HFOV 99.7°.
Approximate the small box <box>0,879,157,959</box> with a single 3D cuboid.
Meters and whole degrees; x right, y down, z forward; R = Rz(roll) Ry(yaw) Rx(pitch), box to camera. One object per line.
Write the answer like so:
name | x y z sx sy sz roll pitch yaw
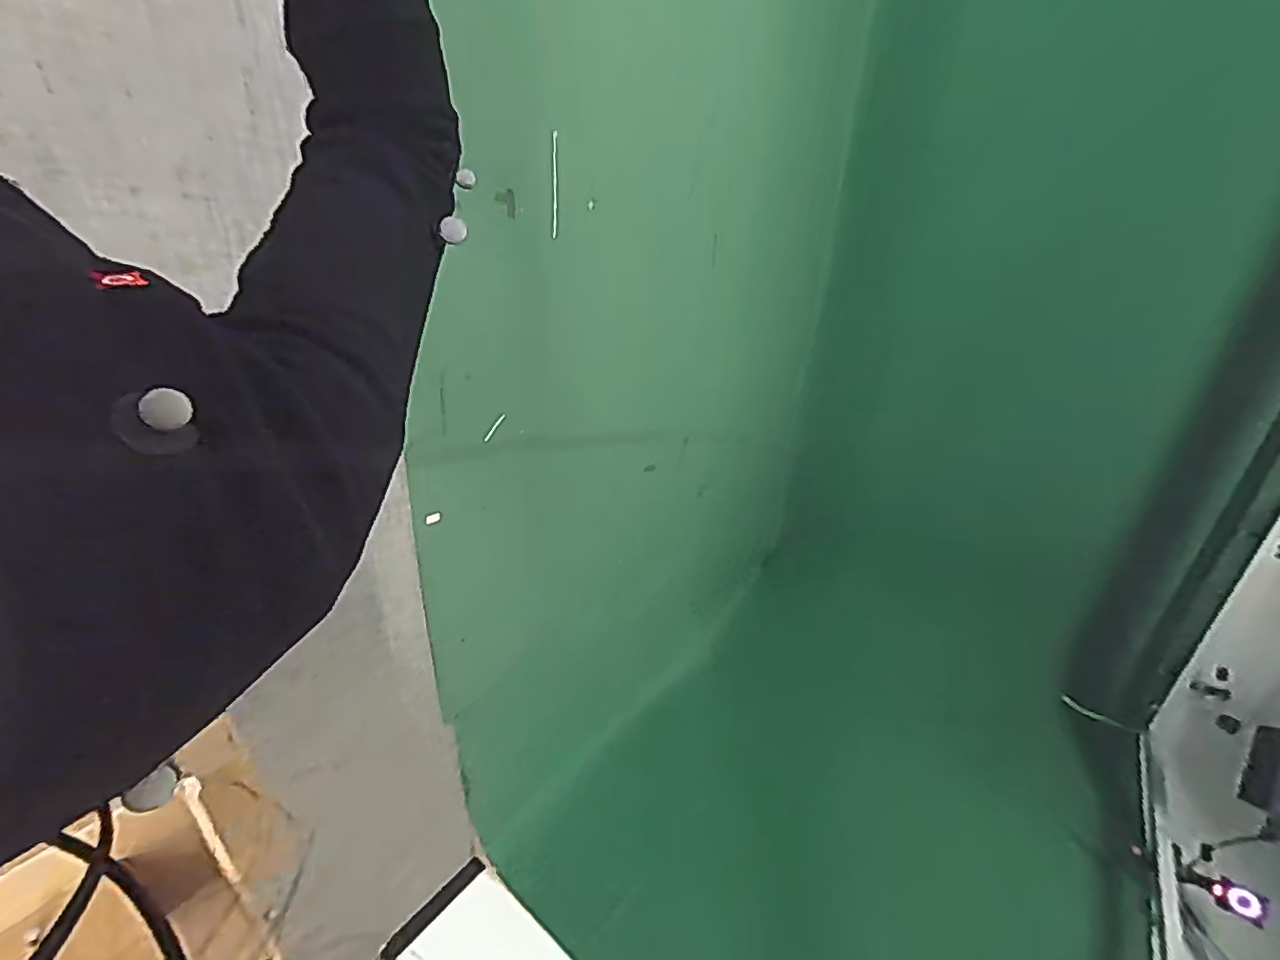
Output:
small box | -0.715 0.655 0.659 0.179 0.176 0.168 -27 130 -44
